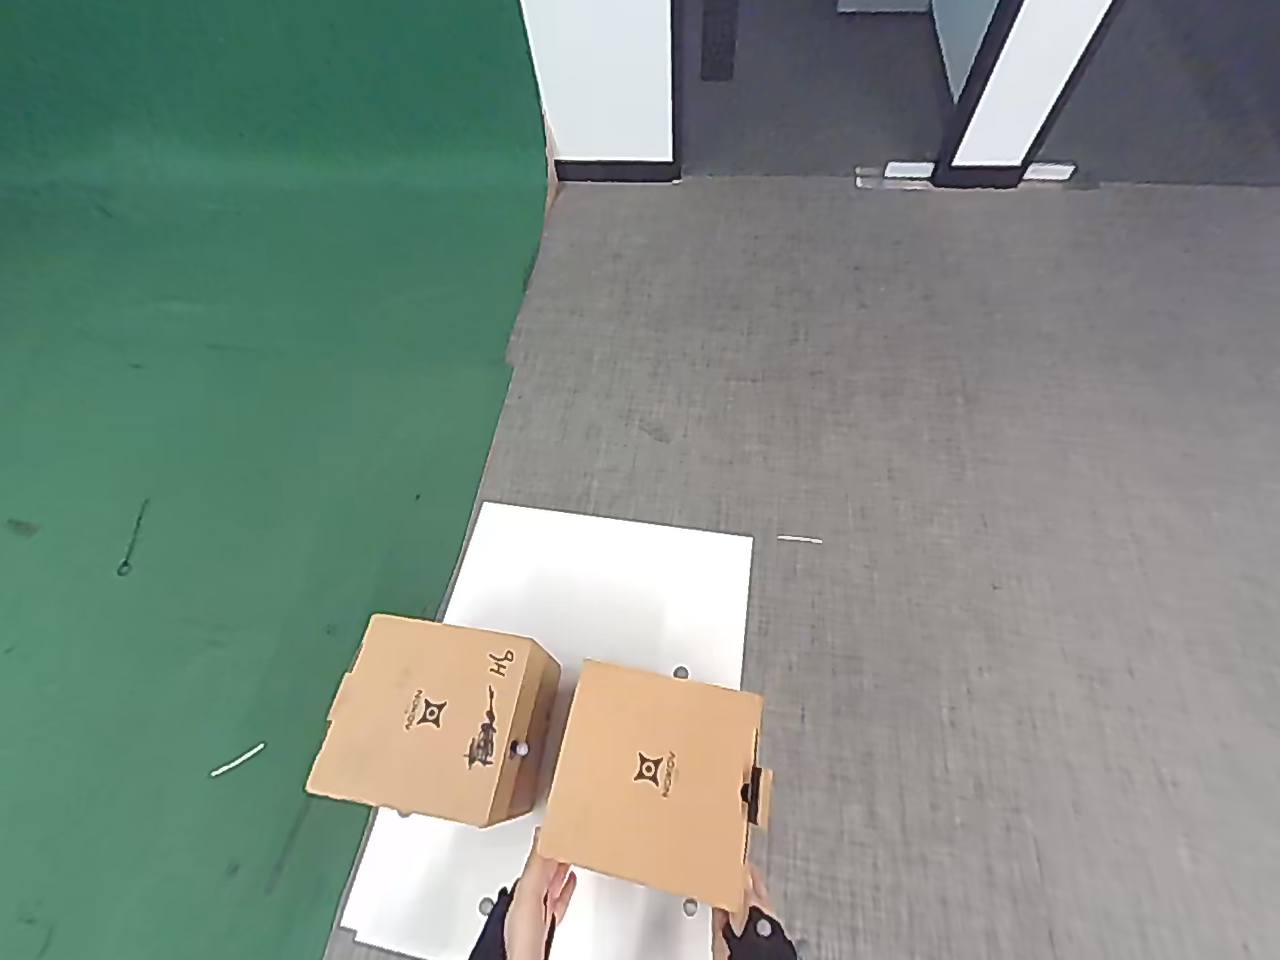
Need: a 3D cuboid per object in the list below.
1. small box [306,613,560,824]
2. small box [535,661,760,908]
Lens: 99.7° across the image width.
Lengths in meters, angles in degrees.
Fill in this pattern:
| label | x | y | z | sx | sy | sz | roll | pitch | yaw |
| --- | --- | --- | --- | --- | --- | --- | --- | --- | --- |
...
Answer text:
| label | x | y | z | sx | sy | sz | roll | pitch | yaw |
| --- | --- | --- | --- | --- | --- | --- | --- | --- | --- |
| small box | -0.201 | 0.255 | 0.585 | 0.179 | 0.176 | 0.168 | 6 | 63 | 7 |
| small box | 0.017 | 0.297 | 0.545 | 0.179 | 0.176 | 0.168 | 8 | 61 | 9 |
